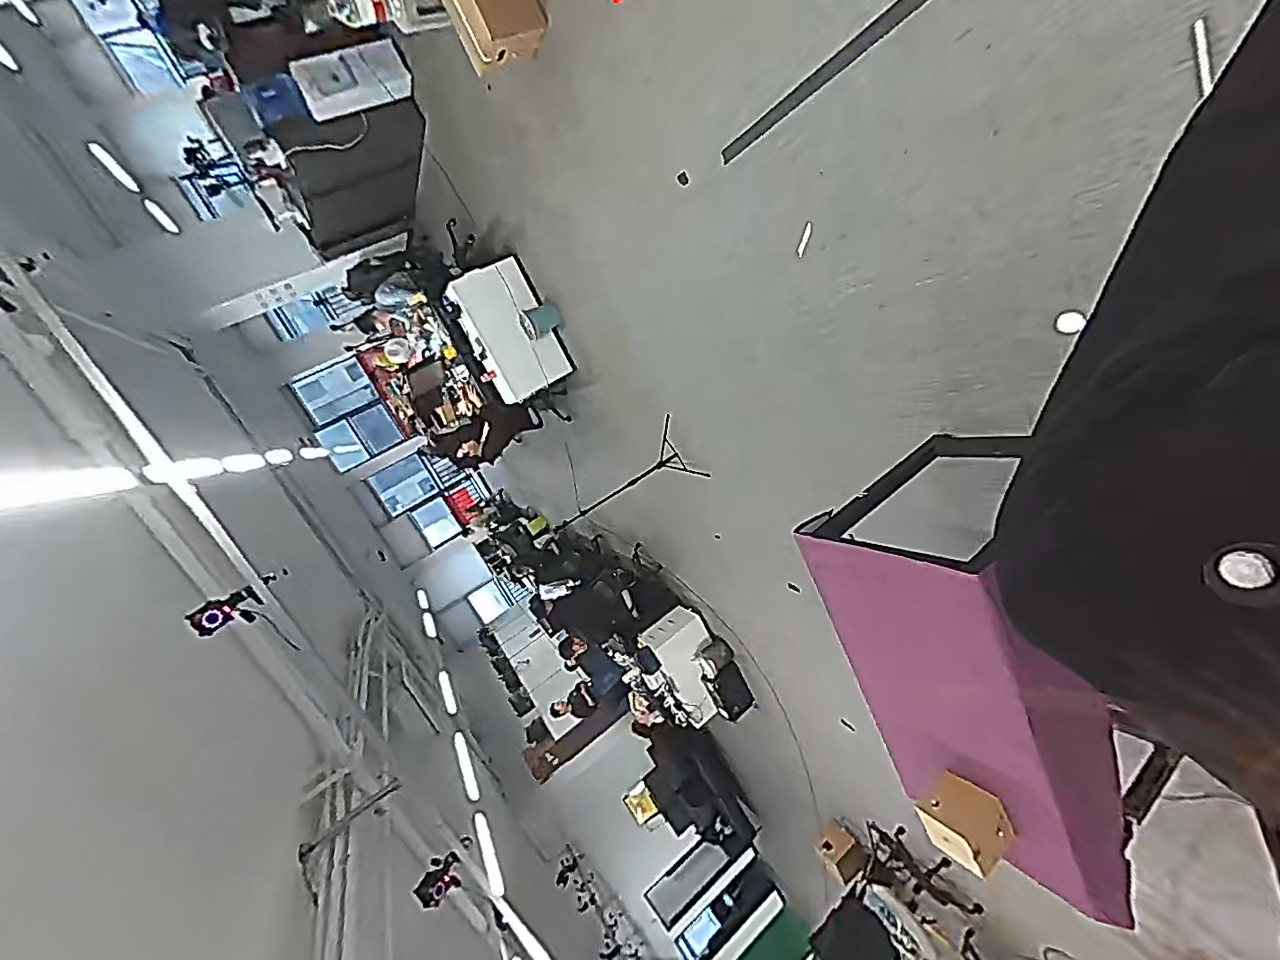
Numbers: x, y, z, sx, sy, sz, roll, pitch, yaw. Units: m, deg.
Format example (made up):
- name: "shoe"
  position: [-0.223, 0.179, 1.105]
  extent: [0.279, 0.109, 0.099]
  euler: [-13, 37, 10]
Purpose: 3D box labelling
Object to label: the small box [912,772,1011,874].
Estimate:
- name: "small box"
  position: [0.990, 1.041, 1.664]
  extent: [0.168, 0.176, 0.179]
  euler: [61, 159, -12]
